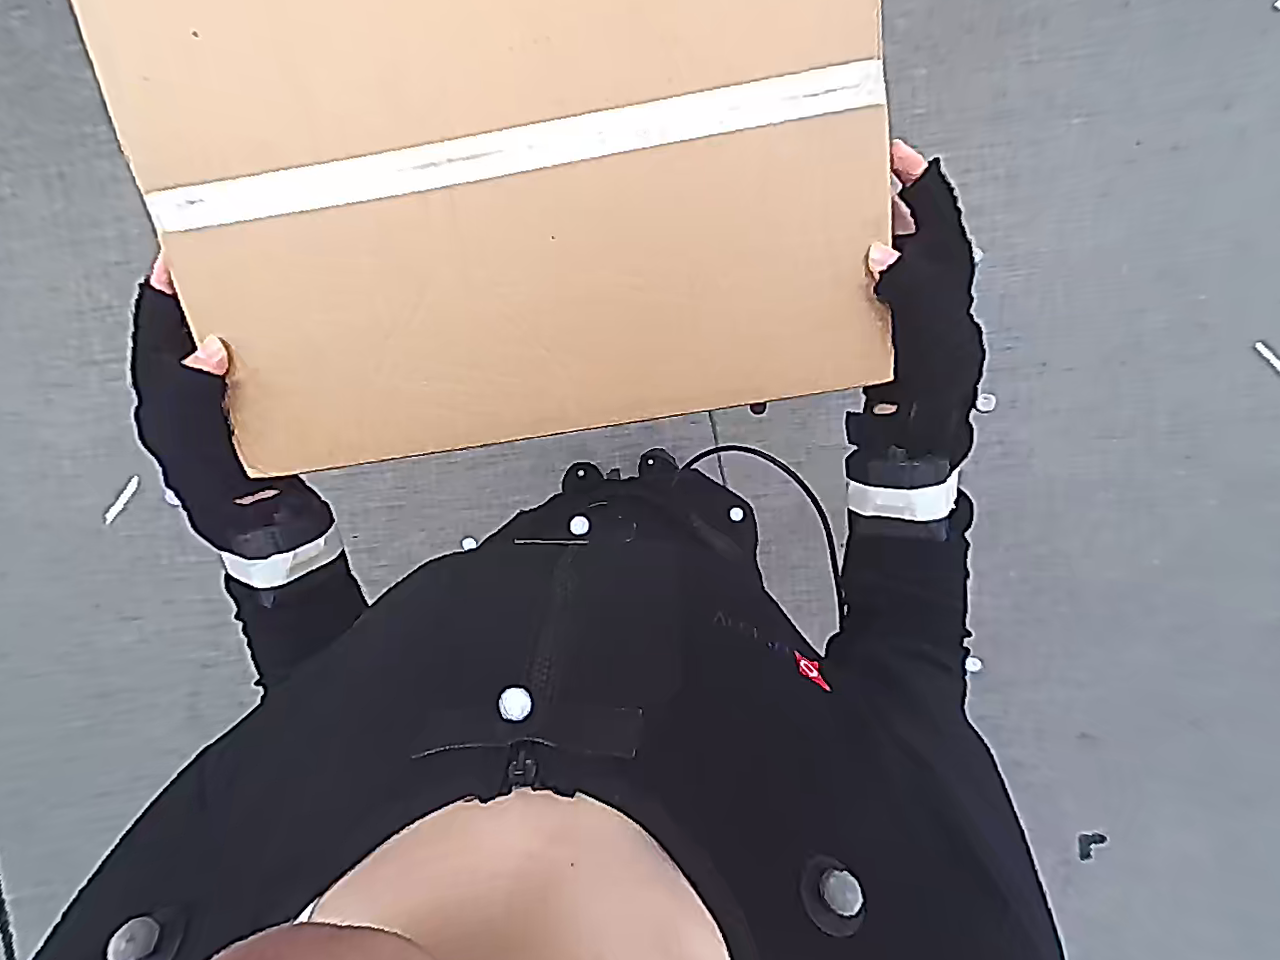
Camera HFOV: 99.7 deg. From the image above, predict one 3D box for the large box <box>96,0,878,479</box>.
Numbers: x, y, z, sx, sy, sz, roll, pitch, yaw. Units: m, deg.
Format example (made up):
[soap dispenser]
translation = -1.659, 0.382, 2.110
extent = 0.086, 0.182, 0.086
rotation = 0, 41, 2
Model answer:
[large box]
translation = -0.070, -0.218, 0.448
extent = 0.408, 0.320, 0.320
rotation = -9, 105, 3
